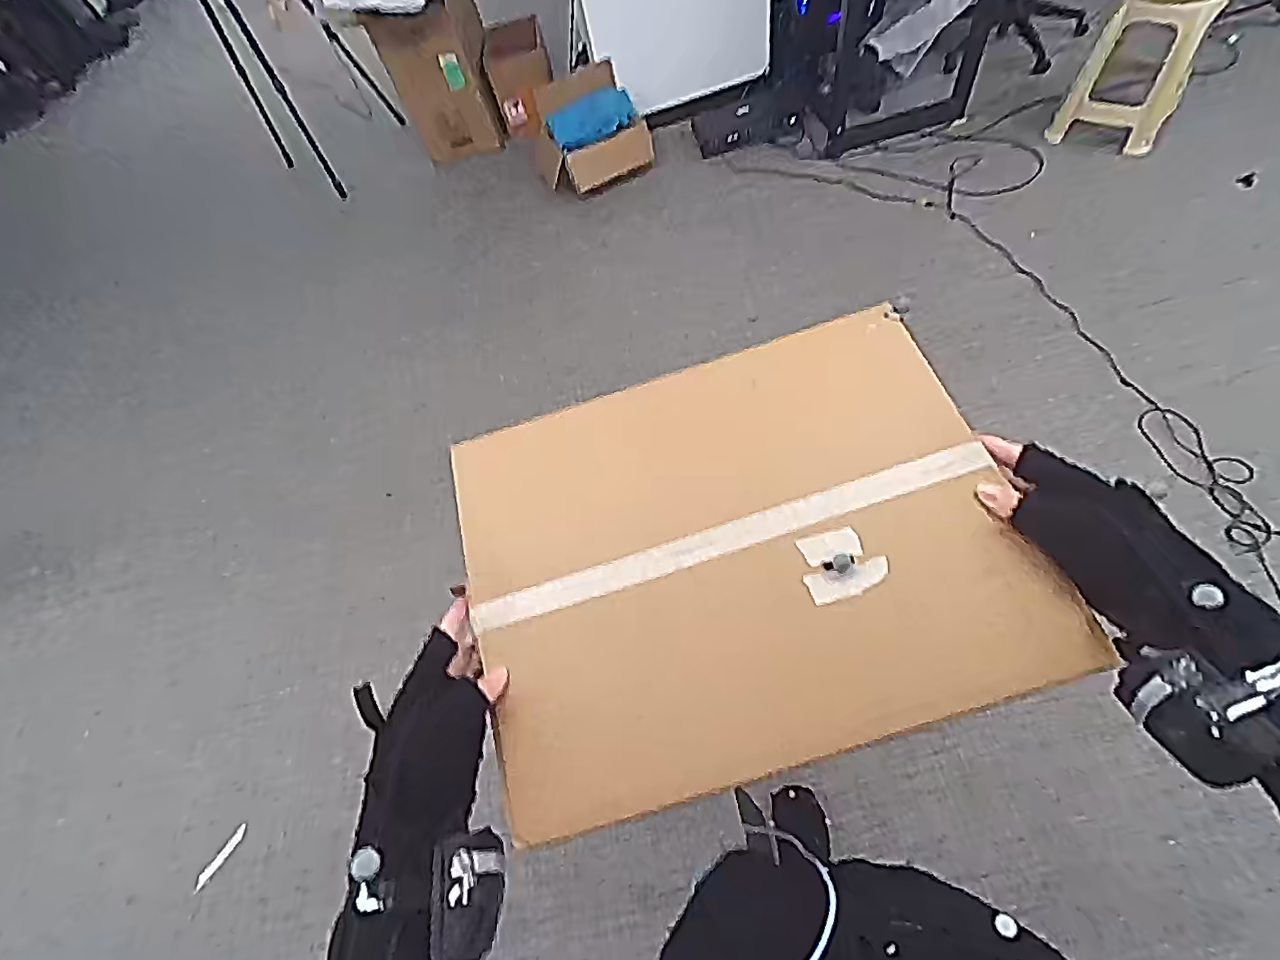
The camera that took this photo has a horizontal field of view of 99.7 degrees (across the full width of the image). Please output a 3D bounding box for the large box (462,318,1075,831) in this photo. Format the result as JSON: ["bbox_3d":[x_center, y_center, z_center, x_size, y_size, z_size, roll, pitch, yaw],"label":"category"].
[{"bbox_3d":[0.086,0.105,0.562,0.408,0.320,0.320,-18,66,0],"label":"large box"}]
